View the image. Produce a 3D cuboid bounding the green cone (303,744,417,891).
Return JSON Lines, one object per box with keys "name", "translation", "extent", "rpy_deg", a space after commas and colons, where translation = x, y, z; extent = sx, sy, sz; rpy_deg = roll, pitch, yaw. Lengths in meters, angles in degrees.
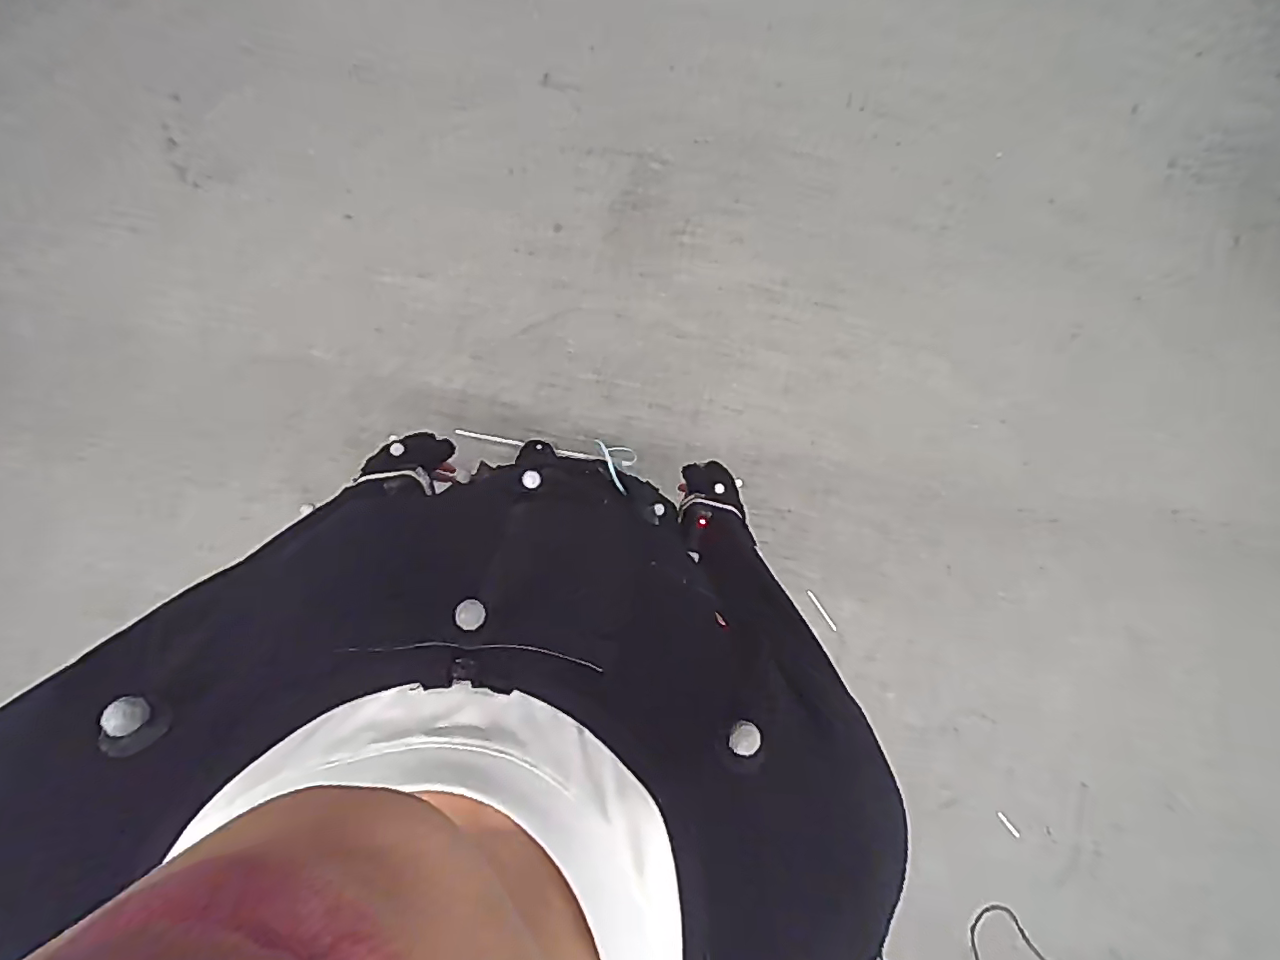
{"name": "green cone", "translation": [-0.710, 0.839, 1.313], "extent": [0.202, 0.368, 0.200], "rpy_deg": [9, 93, -6]}
